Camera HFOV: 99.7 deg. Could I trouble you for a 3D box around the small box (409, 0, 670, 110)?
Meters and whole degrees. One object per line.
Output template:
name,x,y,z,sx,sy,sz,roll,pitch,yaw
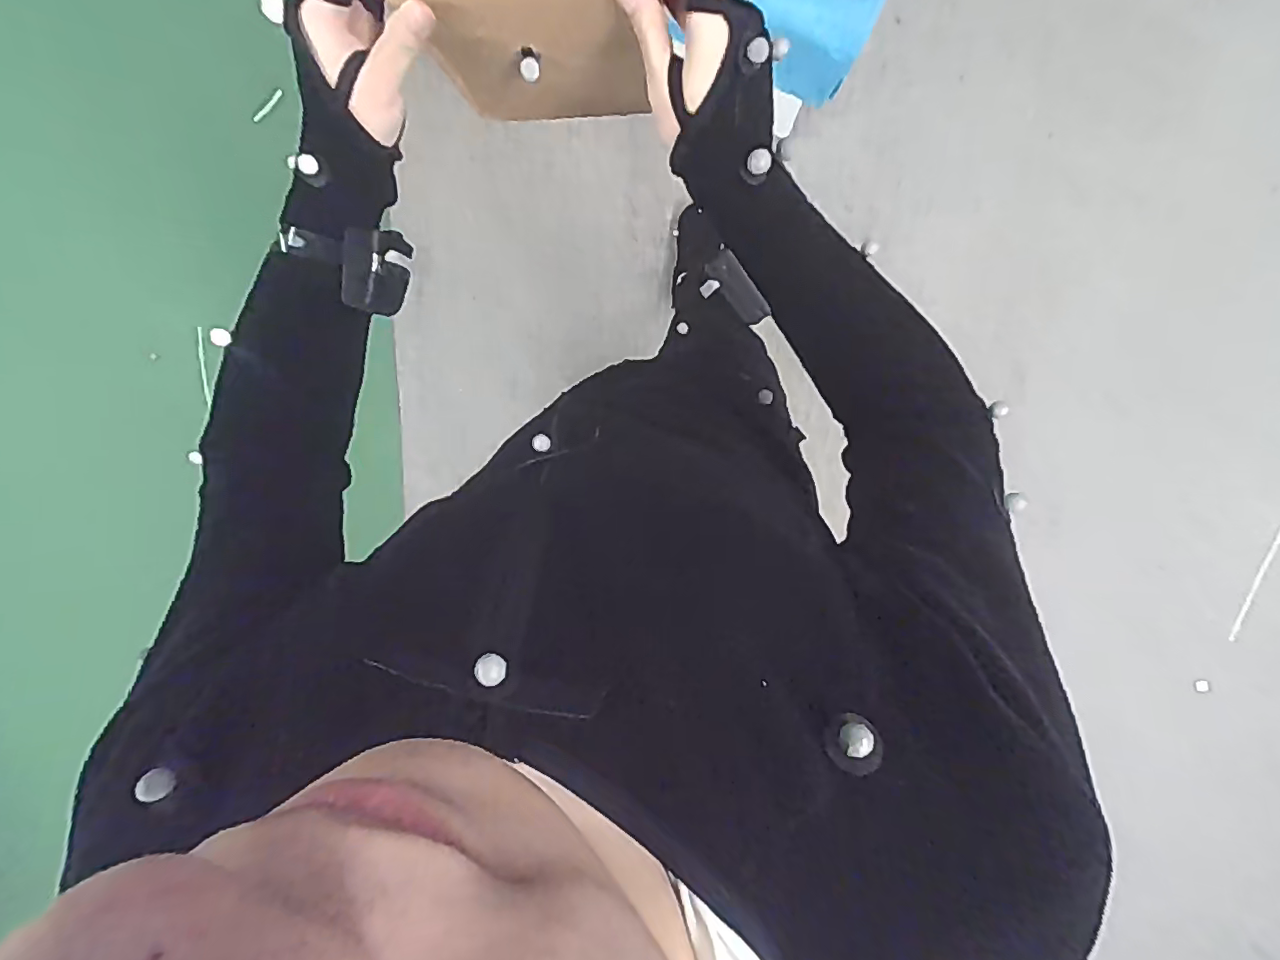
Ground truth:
small box,-0.068,-0.404,0.402,0.179,0.176,0.168,0,101,5
